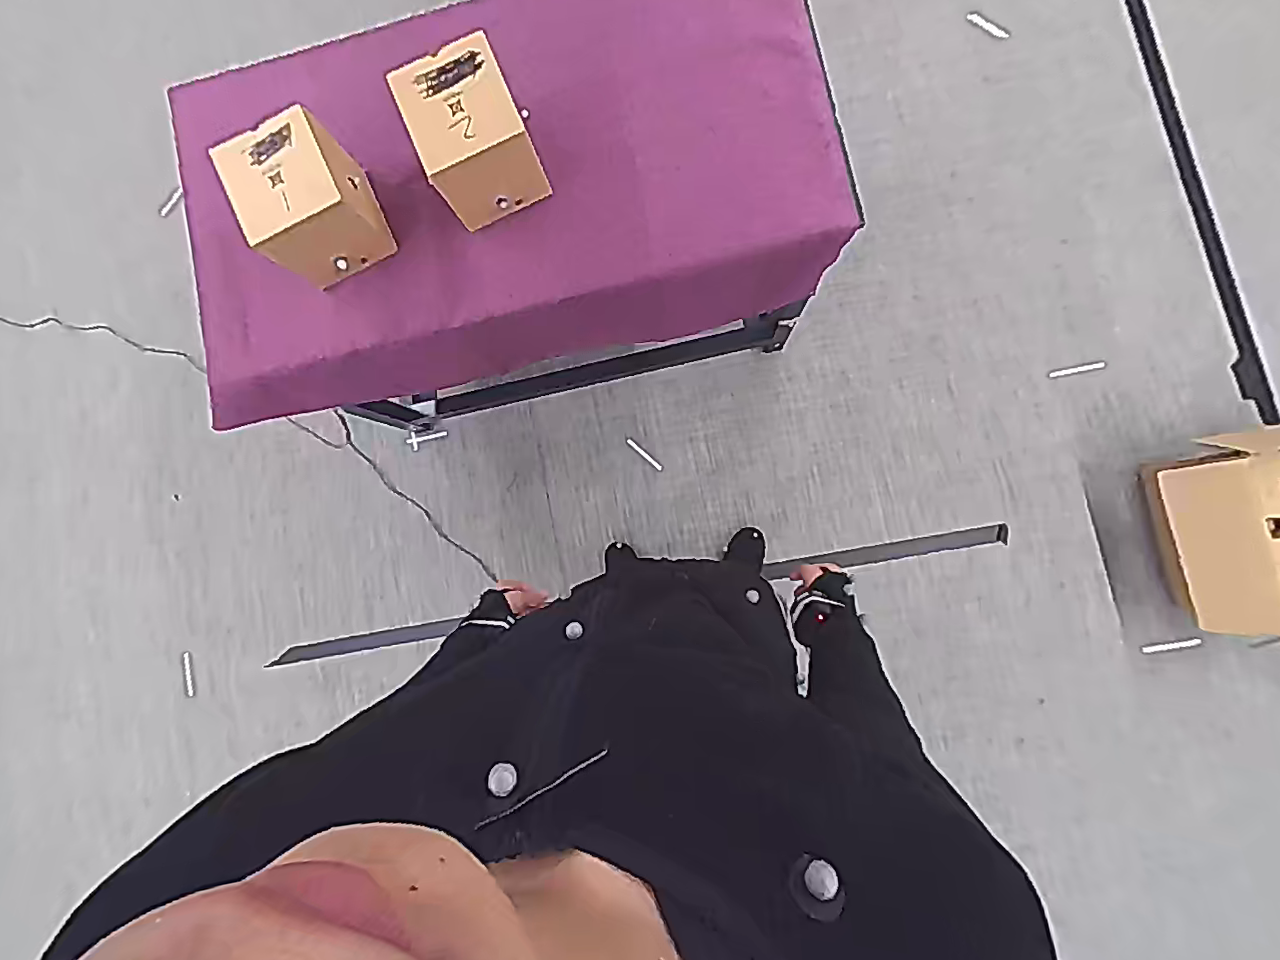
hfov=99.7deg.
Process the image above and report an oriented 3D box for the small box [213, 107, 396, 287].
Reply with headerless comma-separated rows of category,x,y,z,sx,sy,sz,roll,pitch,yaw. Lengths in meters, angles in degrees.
small box,-0.552,-0.462,0.910,0.168,0.176,0.179,-26,85,4
